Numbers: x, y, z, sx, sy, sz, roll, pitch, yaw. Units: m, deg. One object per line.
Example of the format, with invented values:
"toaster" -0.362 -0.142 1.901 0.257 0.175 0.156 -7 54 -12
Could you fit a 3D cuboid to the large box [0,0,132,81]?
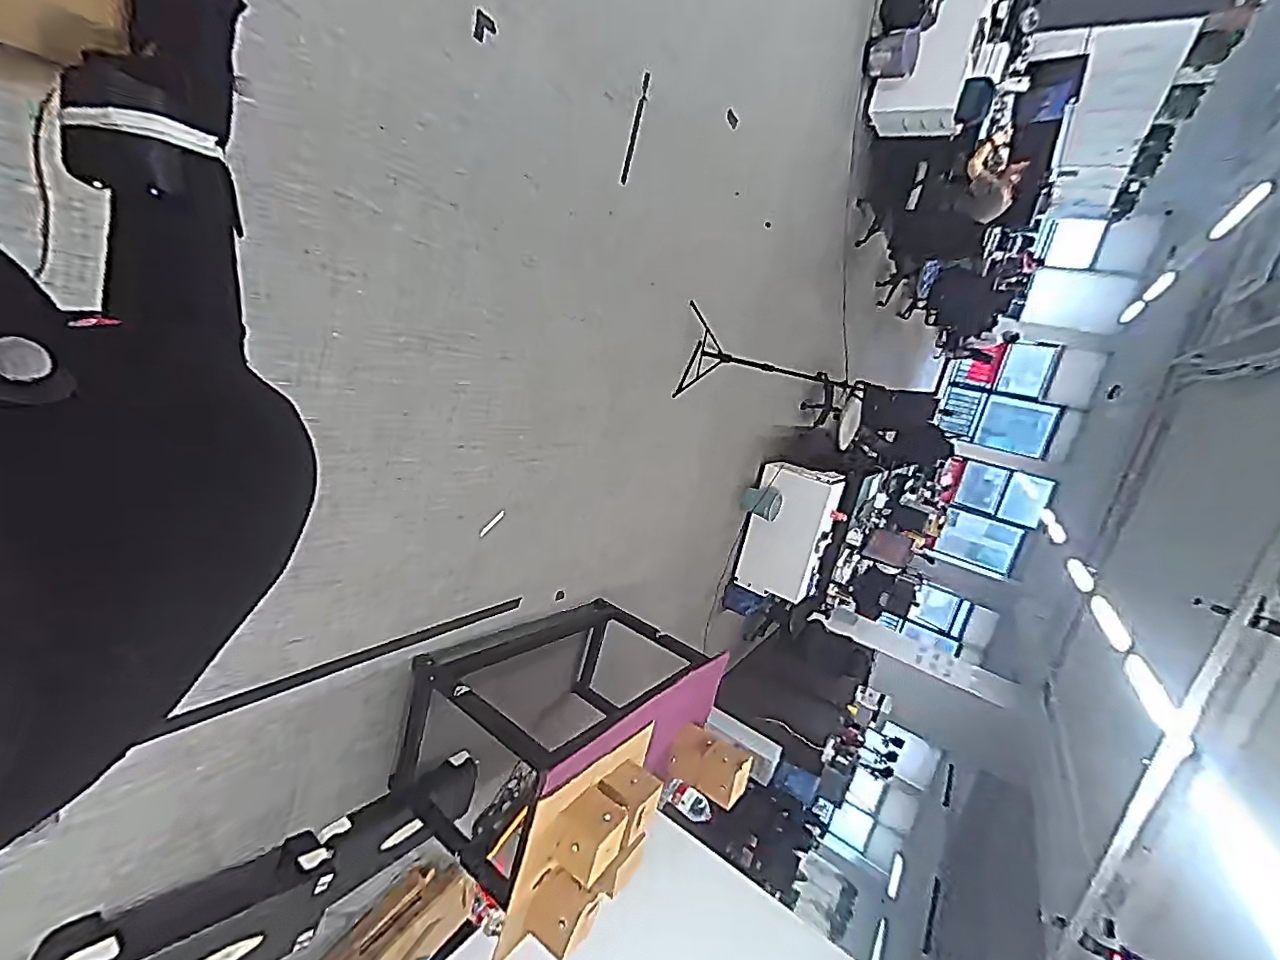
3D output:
"large box" -0.530 -0.439 0.223 0.408 0.320 0.320 -10 122 -58
